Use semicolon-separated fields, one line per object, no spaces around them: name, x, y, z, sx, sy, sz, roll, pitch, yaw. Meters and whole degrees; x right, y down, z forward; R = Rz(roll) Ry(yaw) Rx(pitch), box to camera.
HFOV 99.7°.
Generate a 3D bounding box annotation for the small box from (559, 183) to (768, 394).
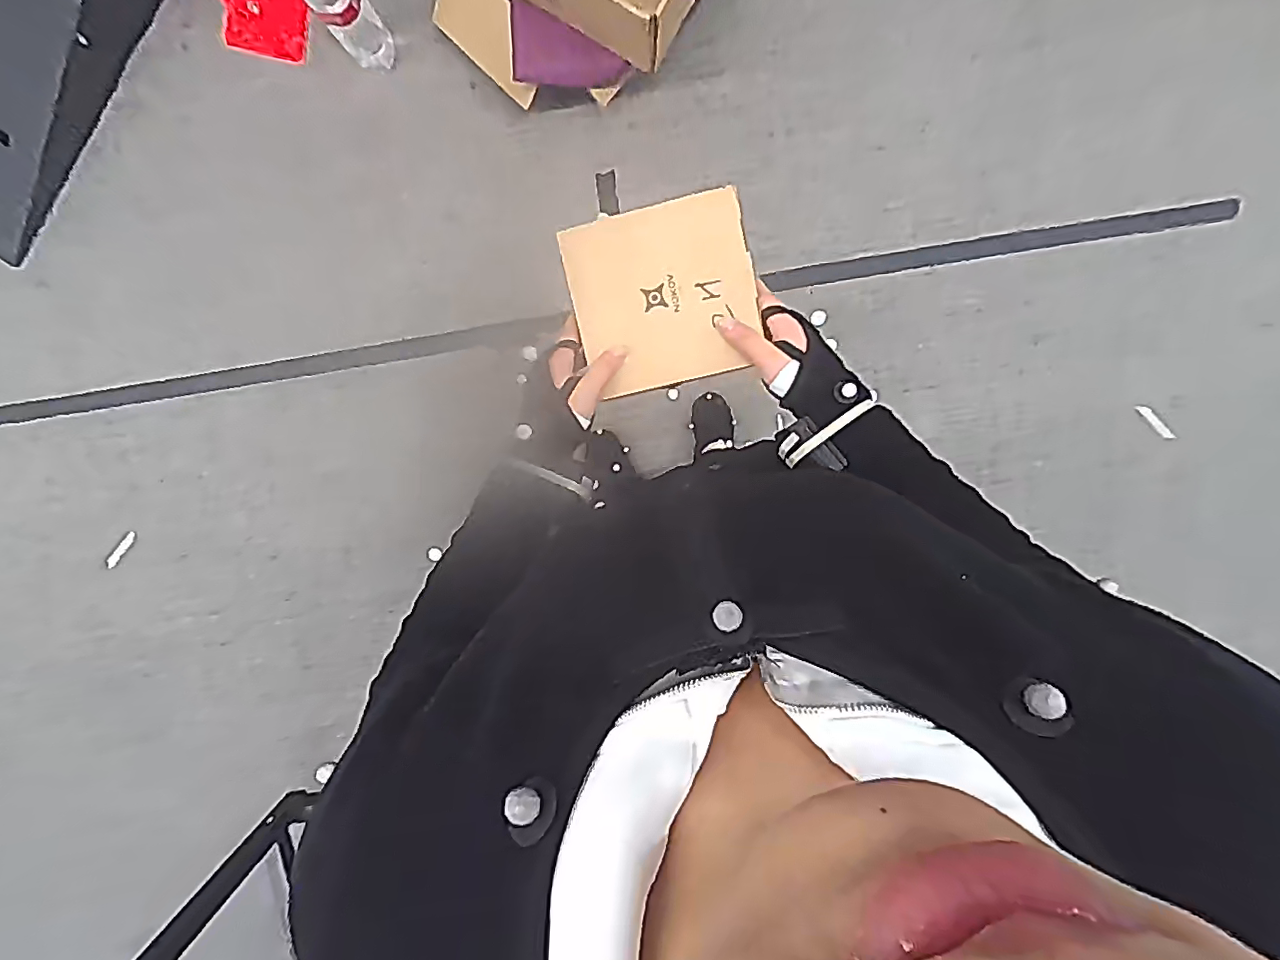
small box;0.028;-0.191;0.595;0.179;0.176;0.168;-13;99;4
